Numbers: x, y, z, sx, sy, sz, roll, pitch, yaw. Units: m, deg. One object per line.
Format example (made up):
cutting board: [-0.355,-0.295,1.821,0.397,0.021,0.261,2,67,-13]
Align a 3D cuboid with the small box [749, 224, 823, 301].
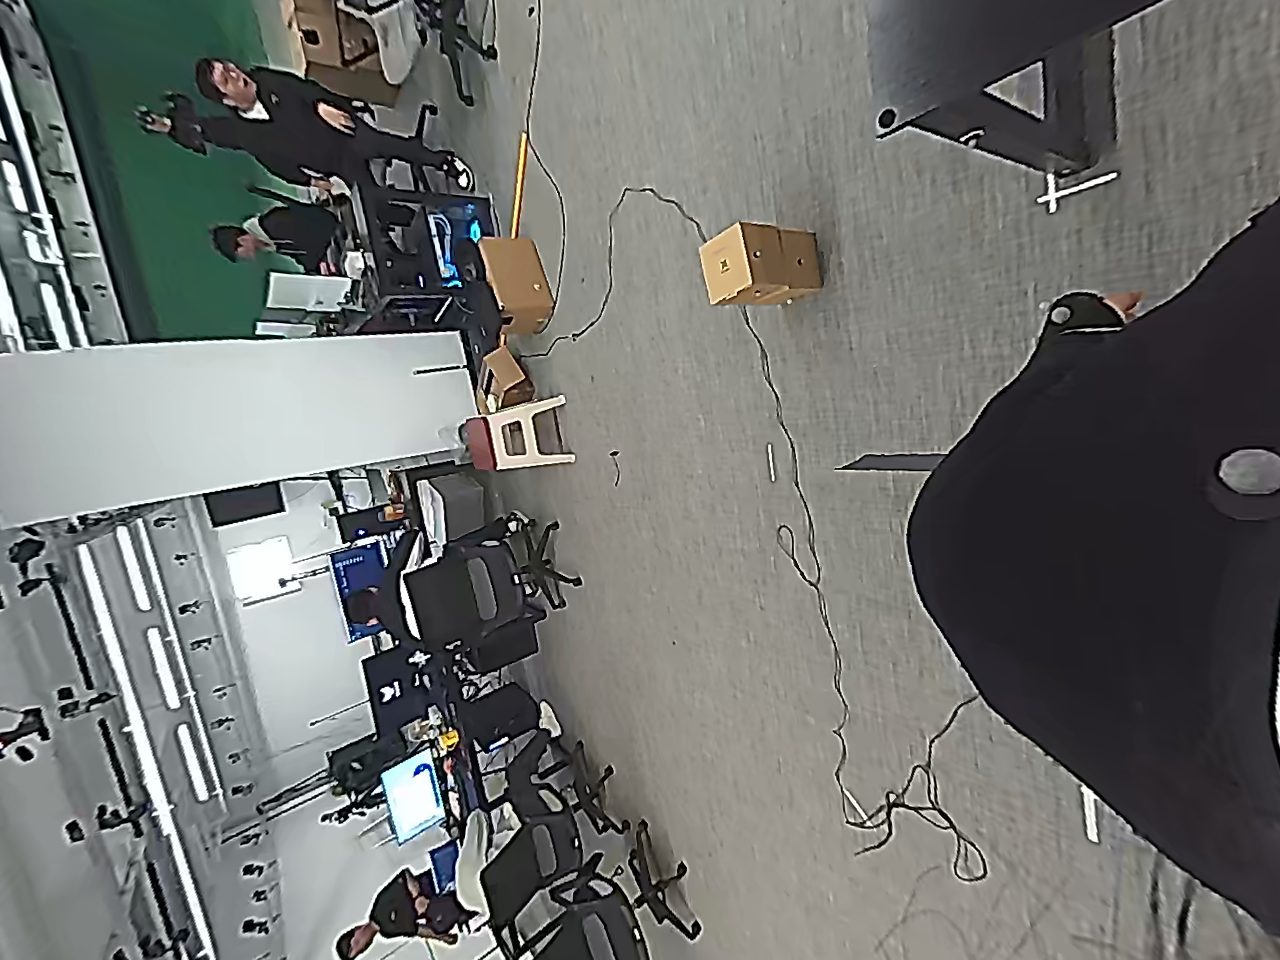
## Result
small box: [0.438,-0.662,1.663,0.168,0.176,0.179,-3,100,54]

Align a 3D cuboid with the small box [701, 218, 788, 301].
small box: [0.308,-0.633,1.569,0.168,0.176,0.179,-9,94,53]
